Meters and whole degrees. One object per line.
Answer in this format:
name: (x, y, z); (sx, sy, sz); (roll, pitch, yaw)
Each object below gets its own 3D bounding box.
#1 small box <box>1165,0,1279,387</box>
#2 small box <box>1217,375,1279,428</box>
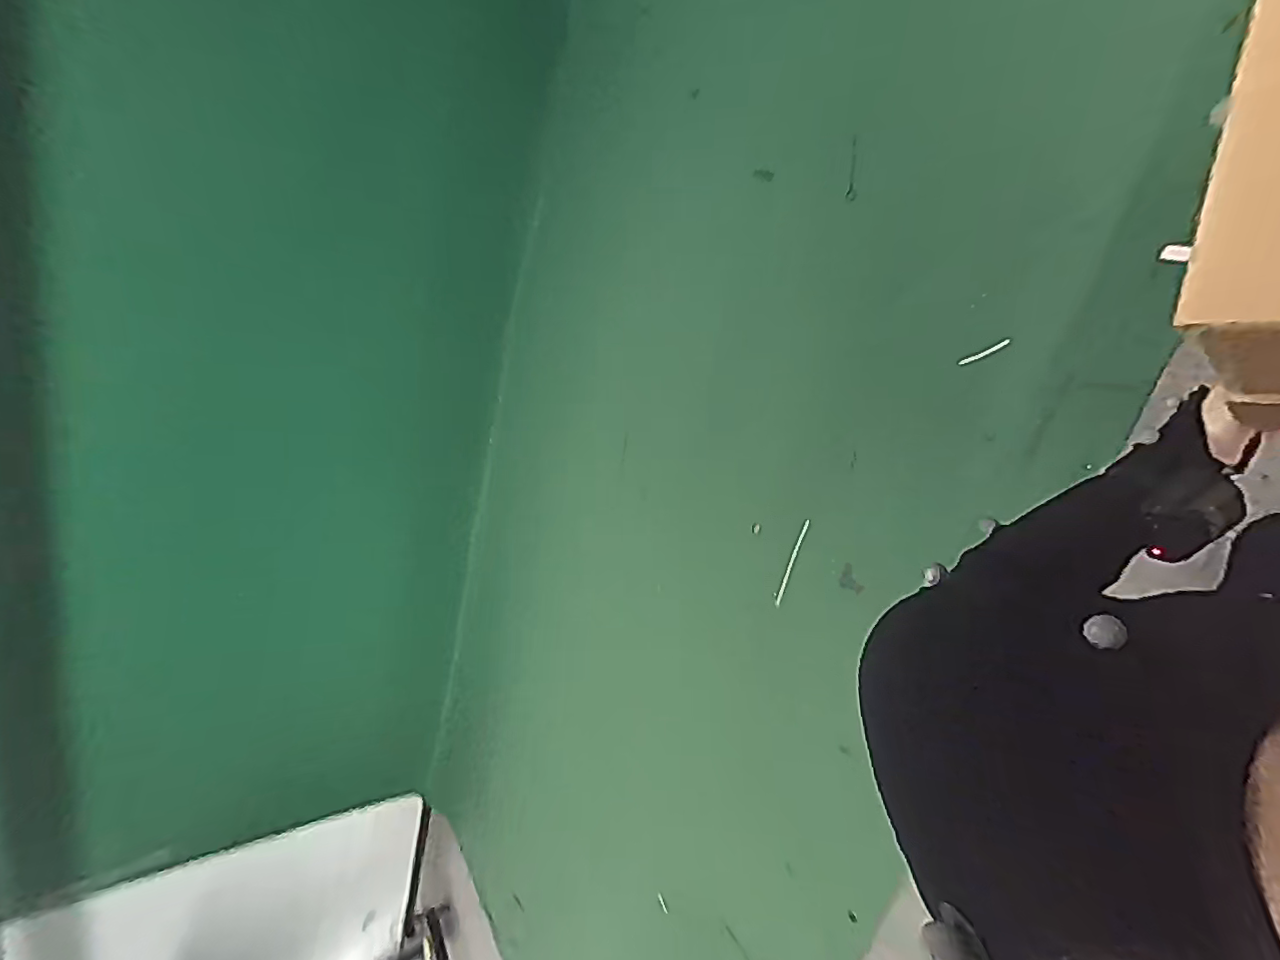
small box: (0.309, -0.117, 0.166); (0.179, 0.176, 0.168); (16, 101, 48)
small box: (0.434, -0.109, 0.269); (0.179, 0.176, 0.168); (12, 97, 50)
